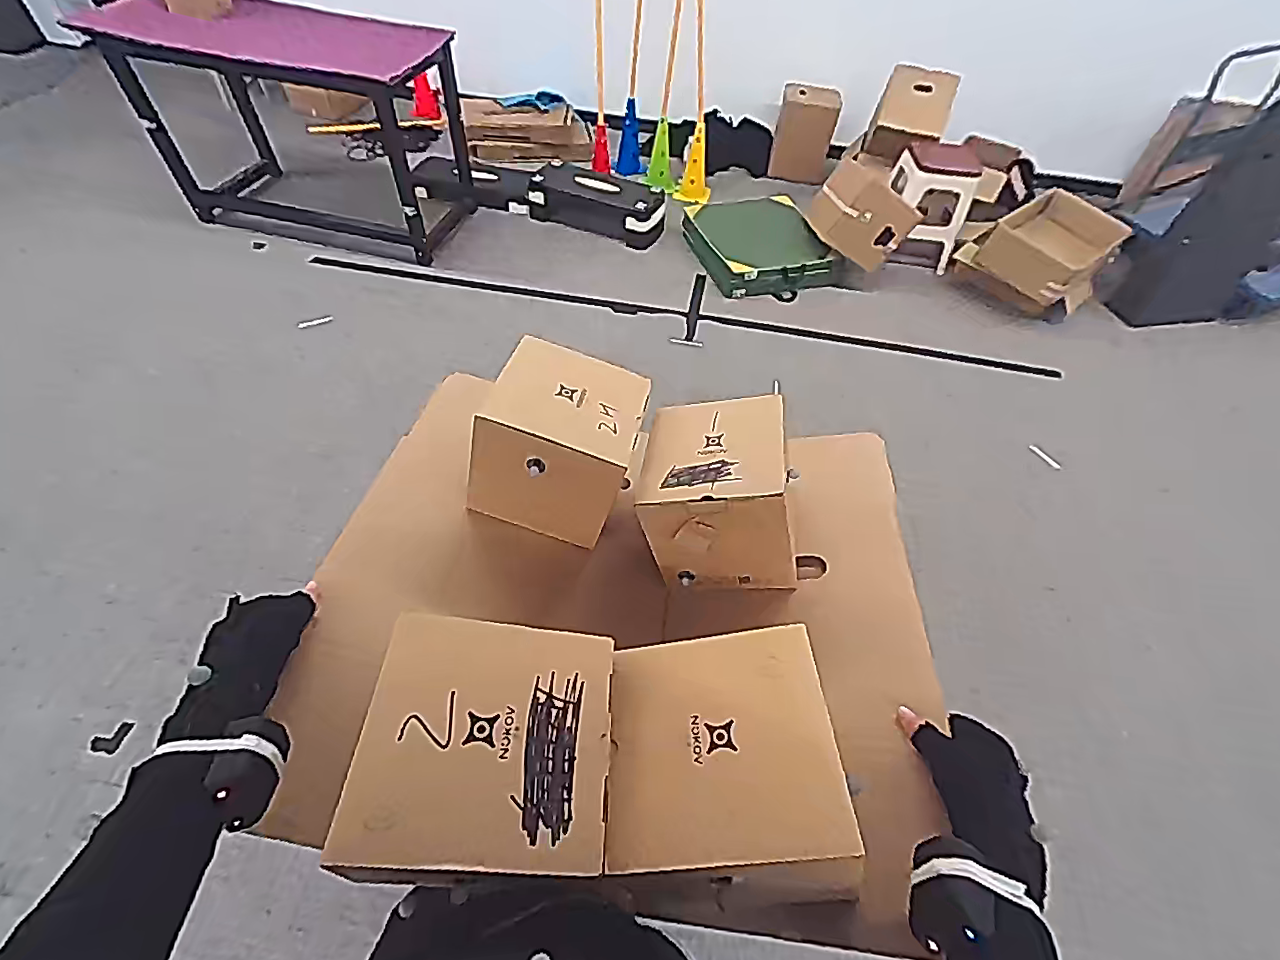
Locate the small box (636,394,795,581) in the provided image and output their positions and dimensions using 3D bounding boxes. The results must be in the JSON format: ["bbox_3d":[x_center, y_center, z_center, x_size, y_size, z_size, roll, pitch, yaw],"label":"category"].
[{"bbox_3d":[0.108,0.016,0.697,0.168,0.176,0.179,-4,44,18],"label":"small box"}]
